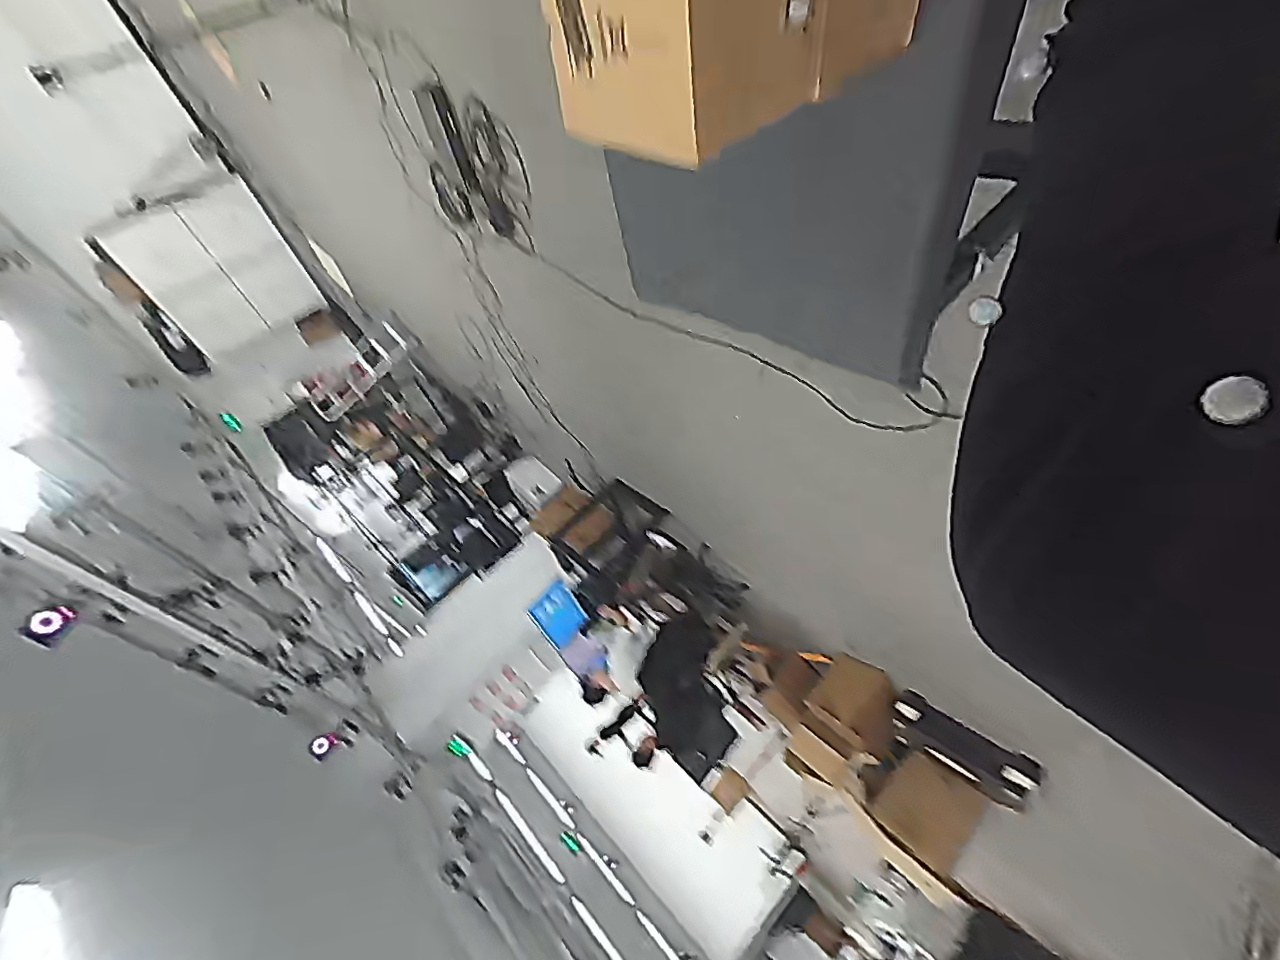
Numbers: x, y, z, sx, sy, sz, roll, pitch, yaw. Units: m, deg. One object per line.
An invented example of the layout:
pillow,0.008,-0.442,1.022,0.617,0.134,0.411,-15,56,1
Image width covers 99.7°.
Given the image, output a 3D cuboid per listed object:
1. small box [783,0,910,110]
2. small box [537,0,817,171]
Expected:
small box,0.152,-0.496,0.520,0.168,0.176,0.179,35,156,32
small box,0.031,-0.400,0.463,0.179,0.176,0.168,36,155,31
